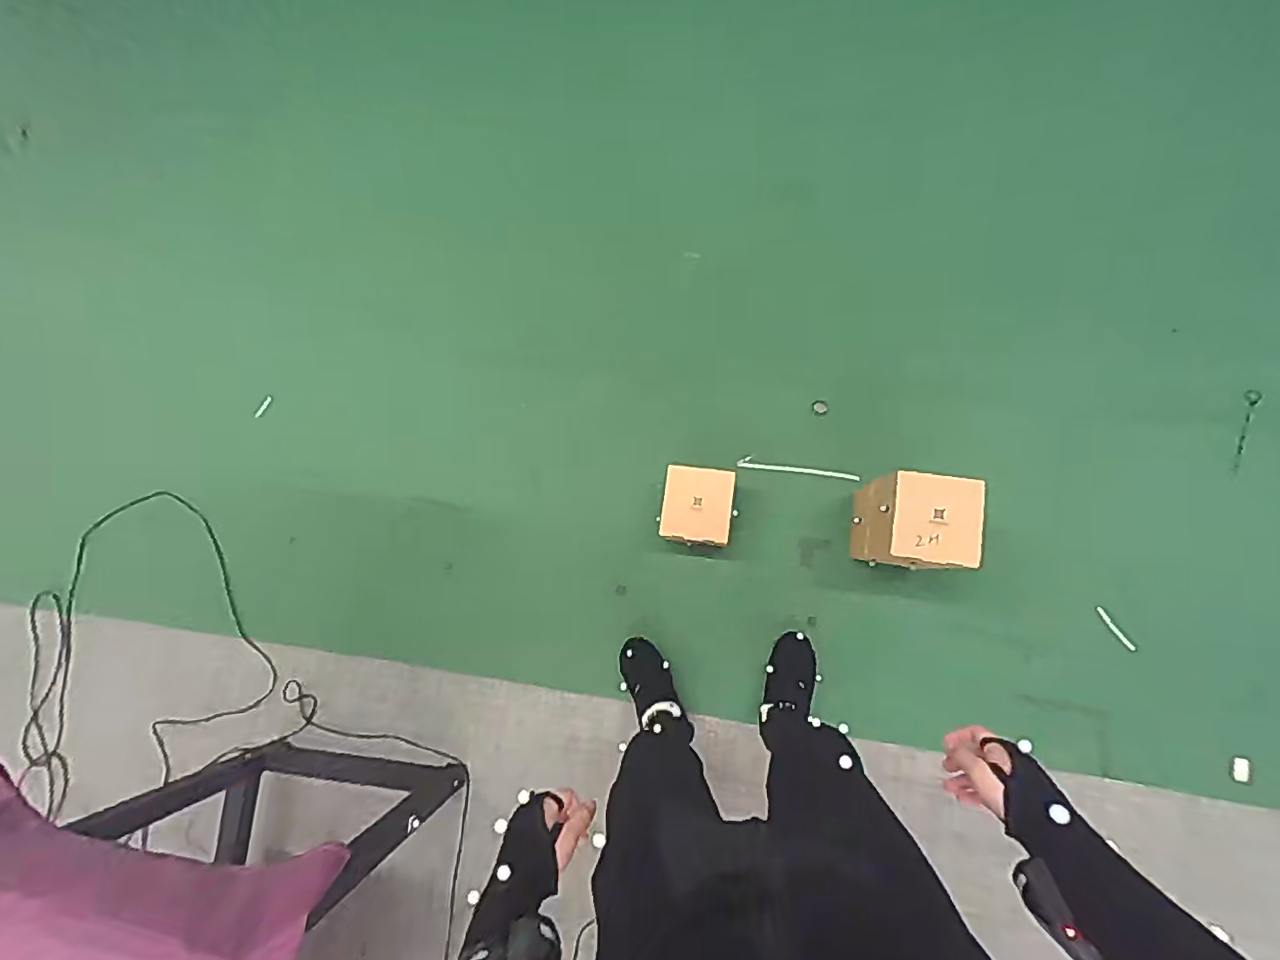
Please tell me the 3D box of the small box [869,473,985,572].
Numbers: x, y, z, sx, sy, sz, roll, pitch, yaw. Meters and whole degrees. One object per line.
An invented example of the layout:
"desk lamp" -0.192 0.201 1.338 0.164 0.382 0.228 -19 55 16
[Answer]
"small box" 0.596 0.094 1.140 0.168 0.176 0.179 8 82 9

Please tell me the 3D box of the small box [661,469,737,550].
"small box" 0.151 0.078 1.371 0.168 0.176 0.179 6 83 8
